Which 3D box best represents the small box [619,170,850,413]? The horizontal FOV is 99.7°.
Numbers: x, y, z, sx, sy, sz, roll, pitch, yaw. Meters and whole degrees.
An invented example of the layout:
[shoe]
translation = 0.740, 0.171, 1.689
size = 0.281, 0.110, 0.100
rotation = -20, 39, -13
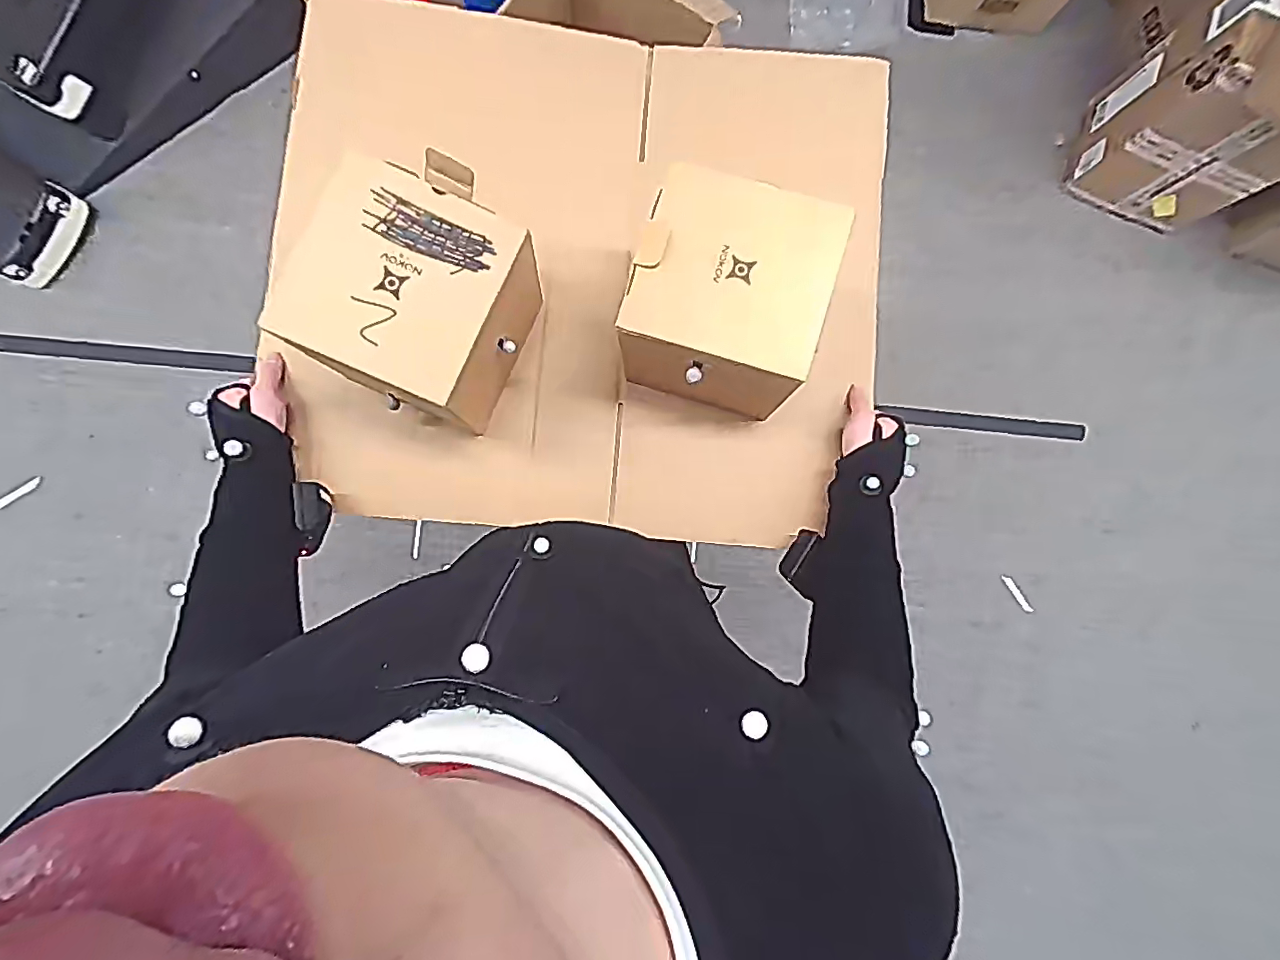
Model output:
[small box]
translation = 0.089, -0.179, 0.571
size = 0.179, 0.176, 0.168
rotation = 17, 86, 3
